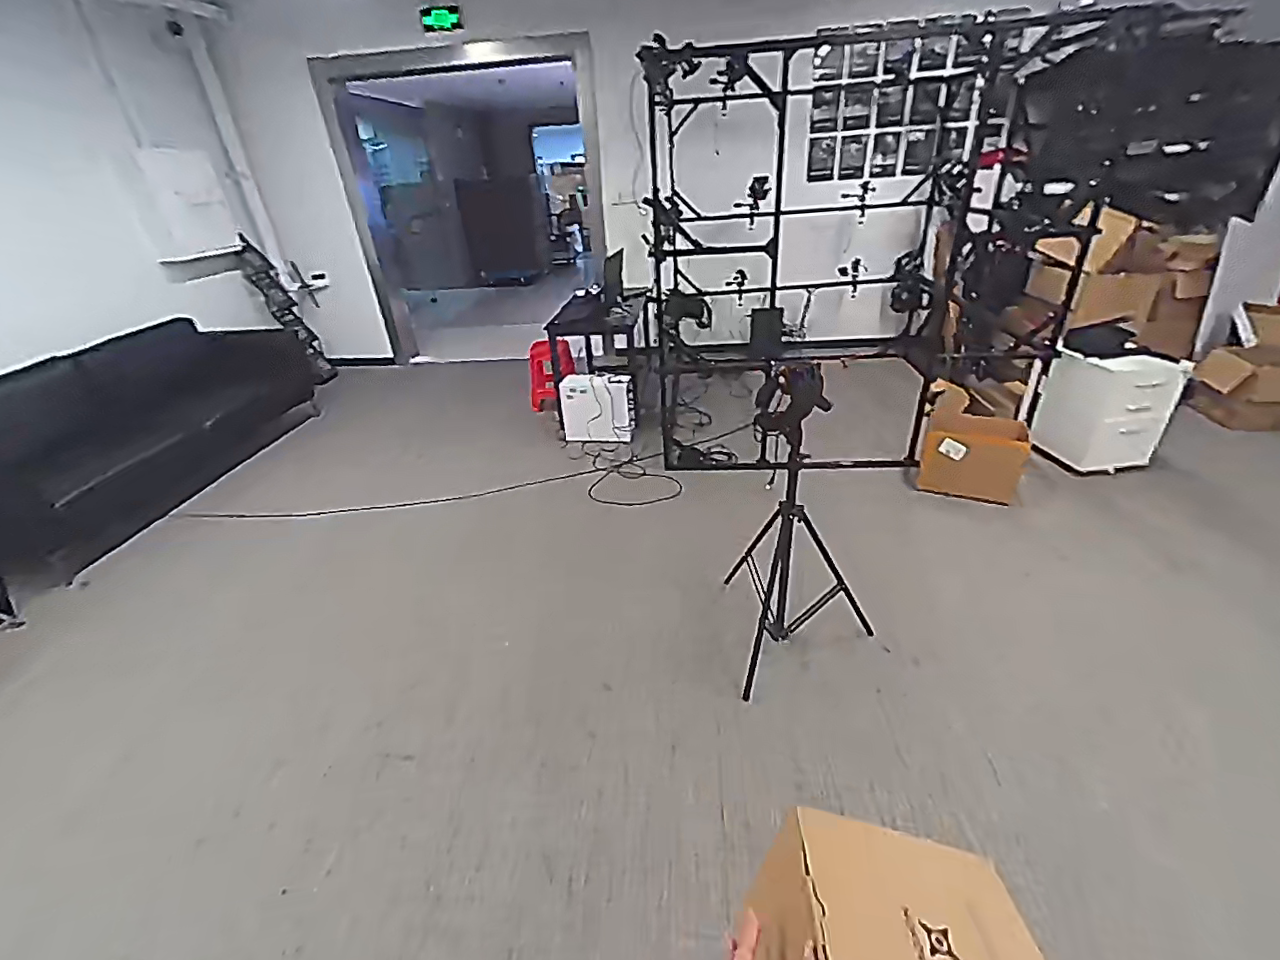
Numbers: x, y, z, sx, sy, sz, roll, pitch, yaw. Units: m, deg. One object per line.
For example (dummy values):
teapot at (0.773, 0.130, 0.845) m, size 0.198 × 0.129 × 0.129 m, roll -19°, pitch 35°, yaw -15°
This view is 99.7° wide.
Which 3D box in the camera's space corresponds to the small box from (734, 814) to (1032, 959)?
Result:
small box at (0.177, 0.399, 0.400) m, size 0.179 × 0.176 × 0.168 m, roll 18°, pitch 18°, yaw -2°
